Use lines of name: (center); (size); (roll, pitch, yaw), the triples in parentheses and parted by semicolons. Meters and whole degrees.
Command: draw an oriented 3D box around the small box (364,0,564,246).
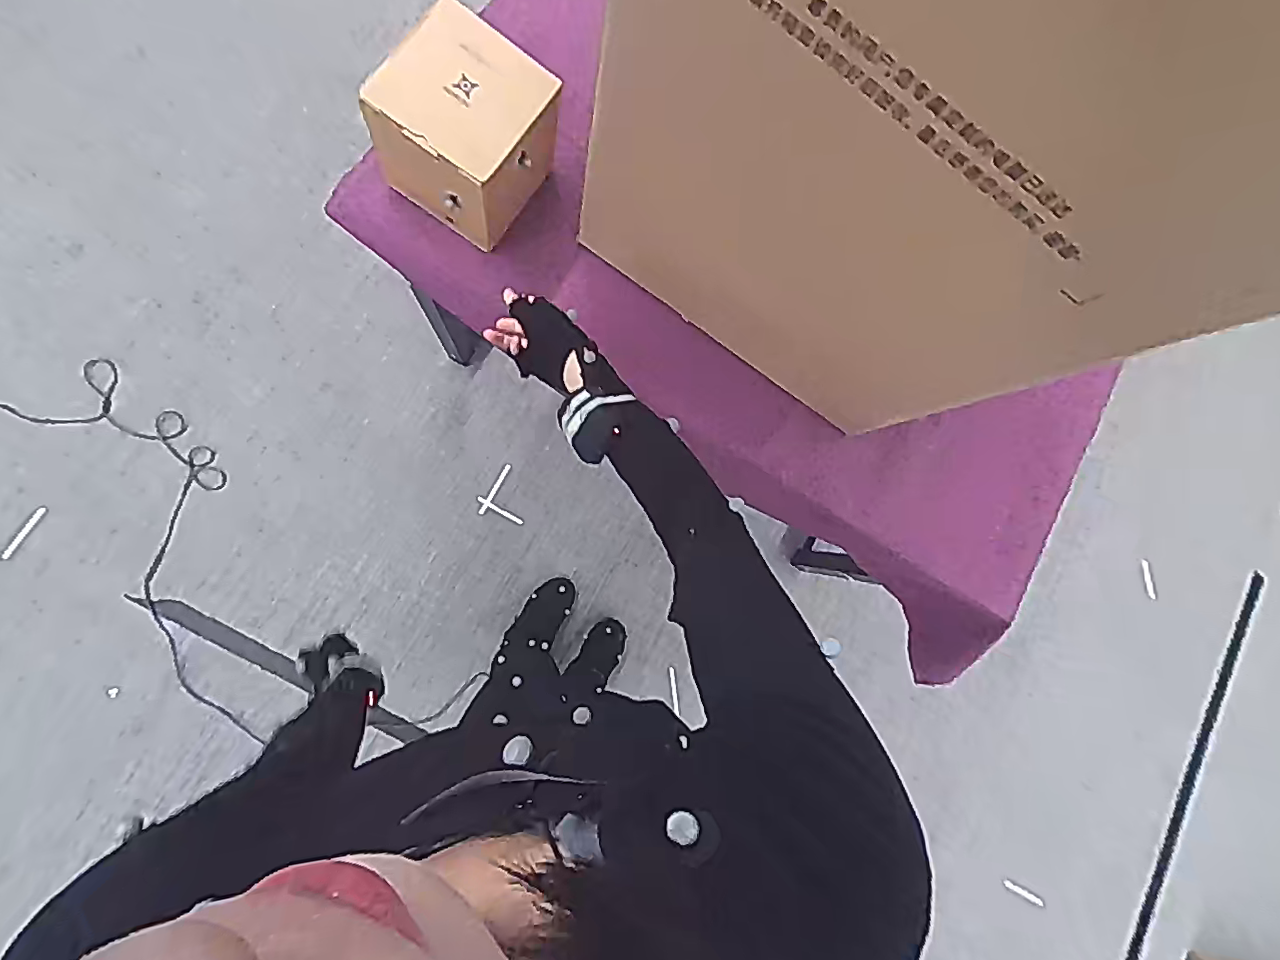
small box: (-0.219, -0.450, 0.709); (0.168, 0.176, 0.179); (34, 78, -9)
